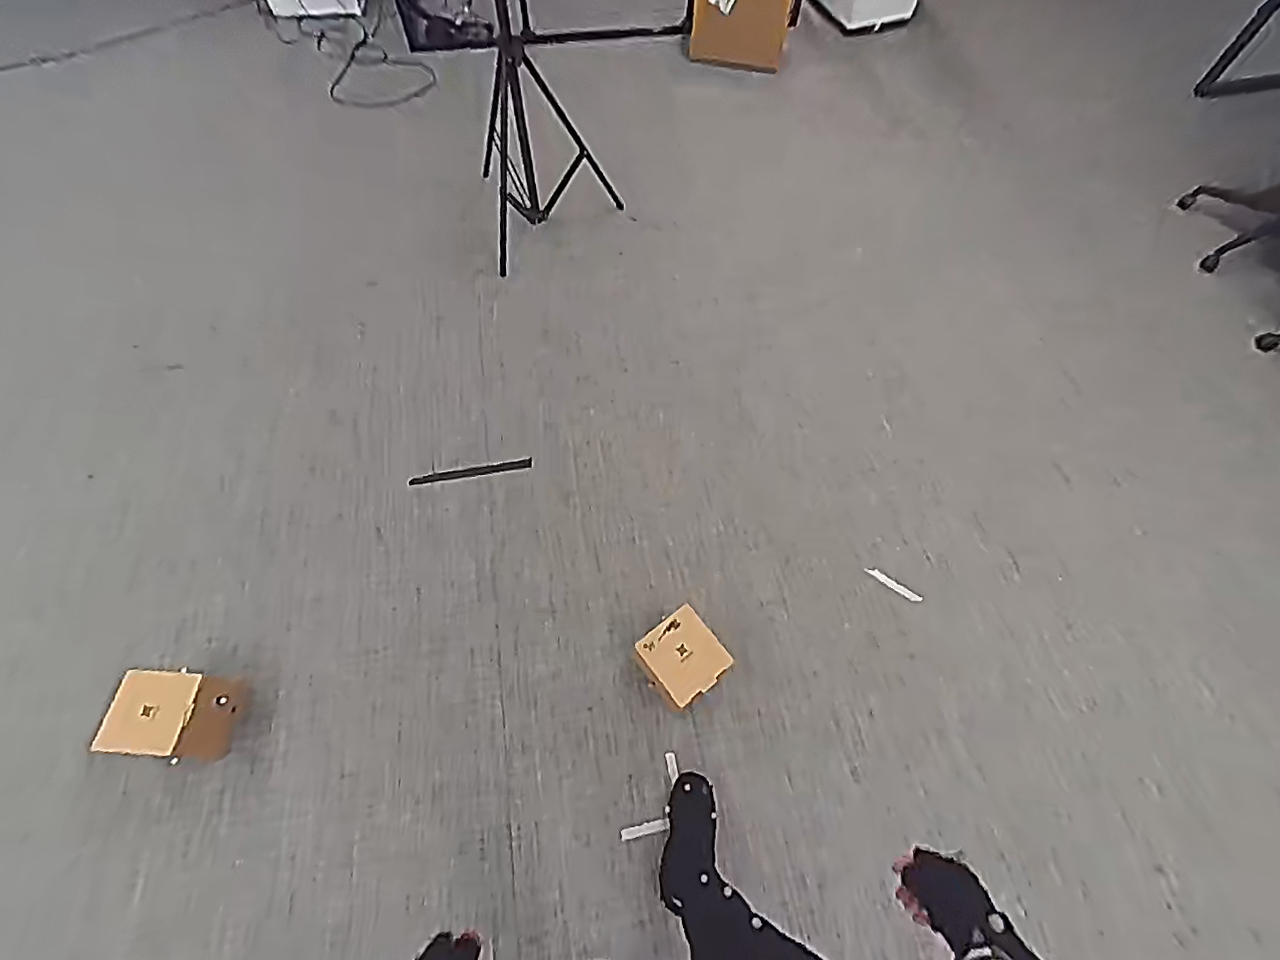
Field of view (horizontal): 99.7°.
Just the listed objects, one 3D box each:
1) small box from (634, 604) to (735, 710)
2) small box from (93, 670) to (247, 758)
[{"bbox_3d":[0.101,0.432,1.308,0.168,0.176,0.179,-34,69,-17],"label":"small box"},{"bbox_3d":[-1.054,0.536,1.234,0.179,0.176,0.168,3,61,1],"label":"small box"}]
